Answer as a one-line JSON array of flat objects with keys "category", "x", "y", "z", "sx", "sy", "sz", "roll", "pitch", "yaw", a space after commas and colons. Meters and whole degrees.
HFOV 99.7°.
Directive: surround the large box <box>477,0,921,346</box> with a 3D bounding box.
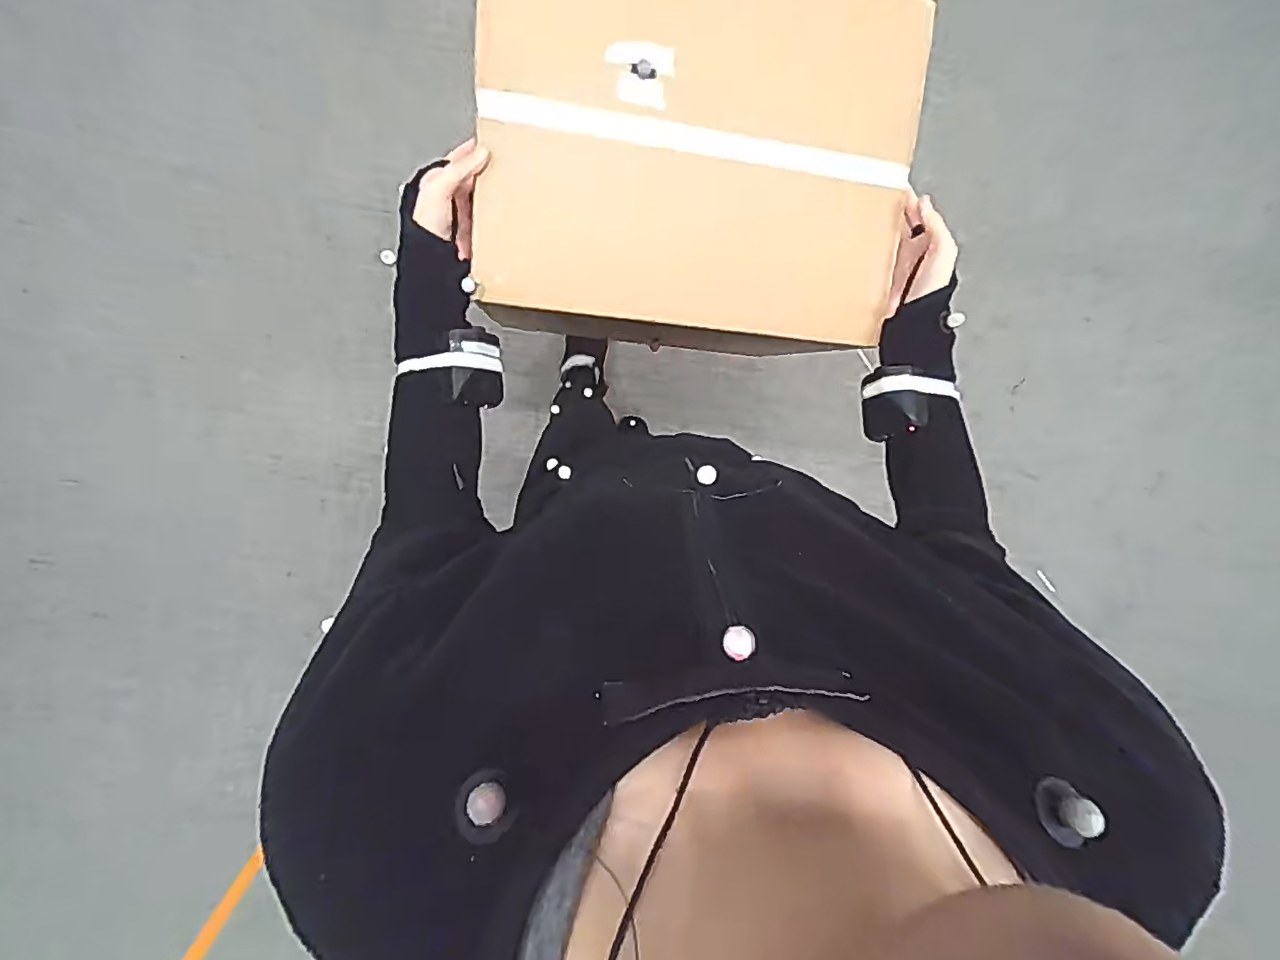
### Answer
[{"category": "large box", "x": 0.037, "y": -0.336, "z": 0.647, "sx": 0.408, "sy": 0.320, "sz": 0.320, "roll": 4, "pitch": 100, "yaw": -10}]
